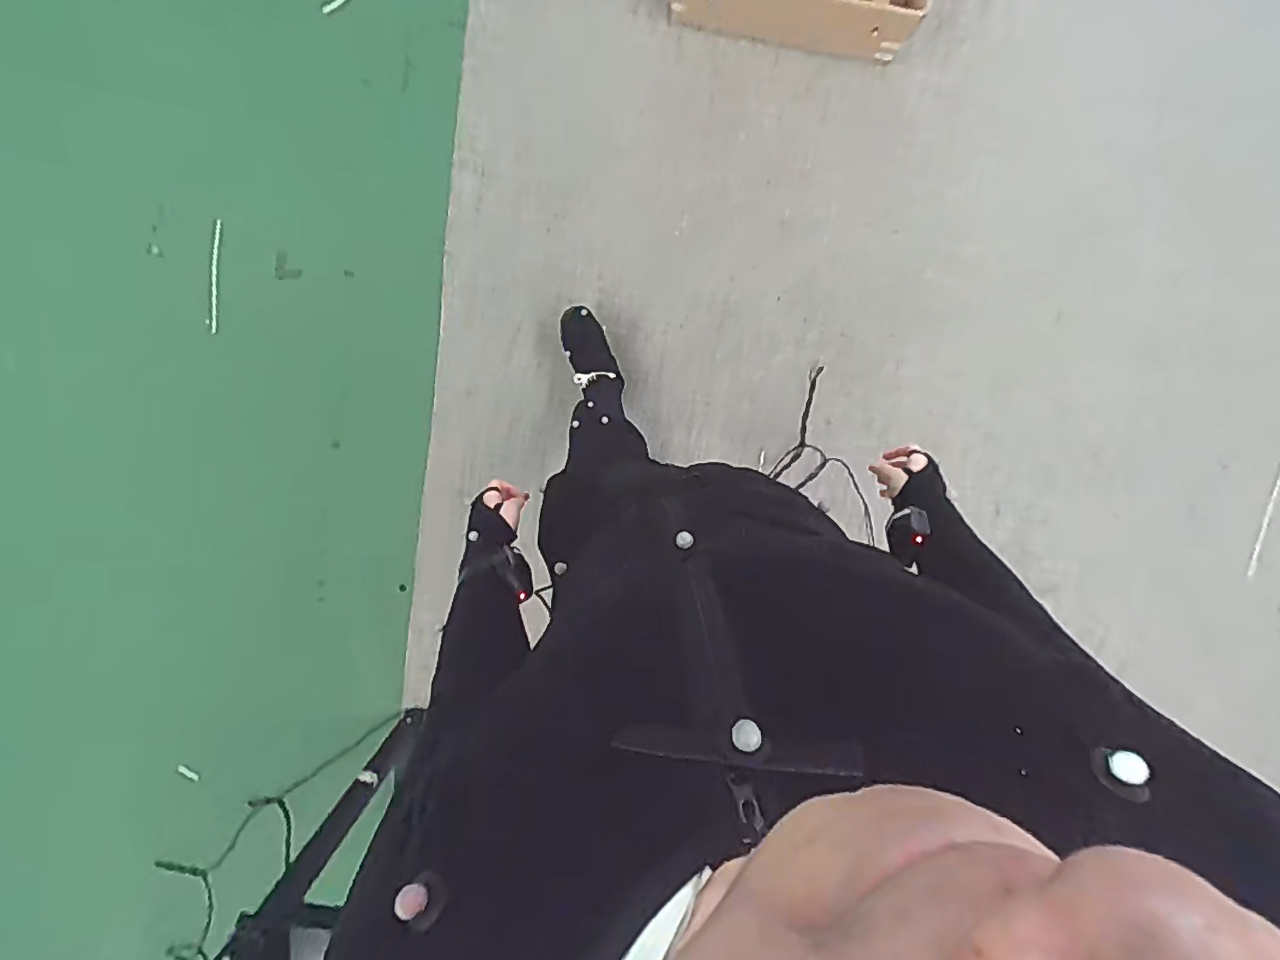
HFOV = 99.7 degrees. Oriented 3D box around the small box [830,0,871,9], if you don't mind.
[{"bbox_3d":[0.514,-1.282,1.287,0.168,0.176,0.179,12,98,-1],"label":"small box"}]
